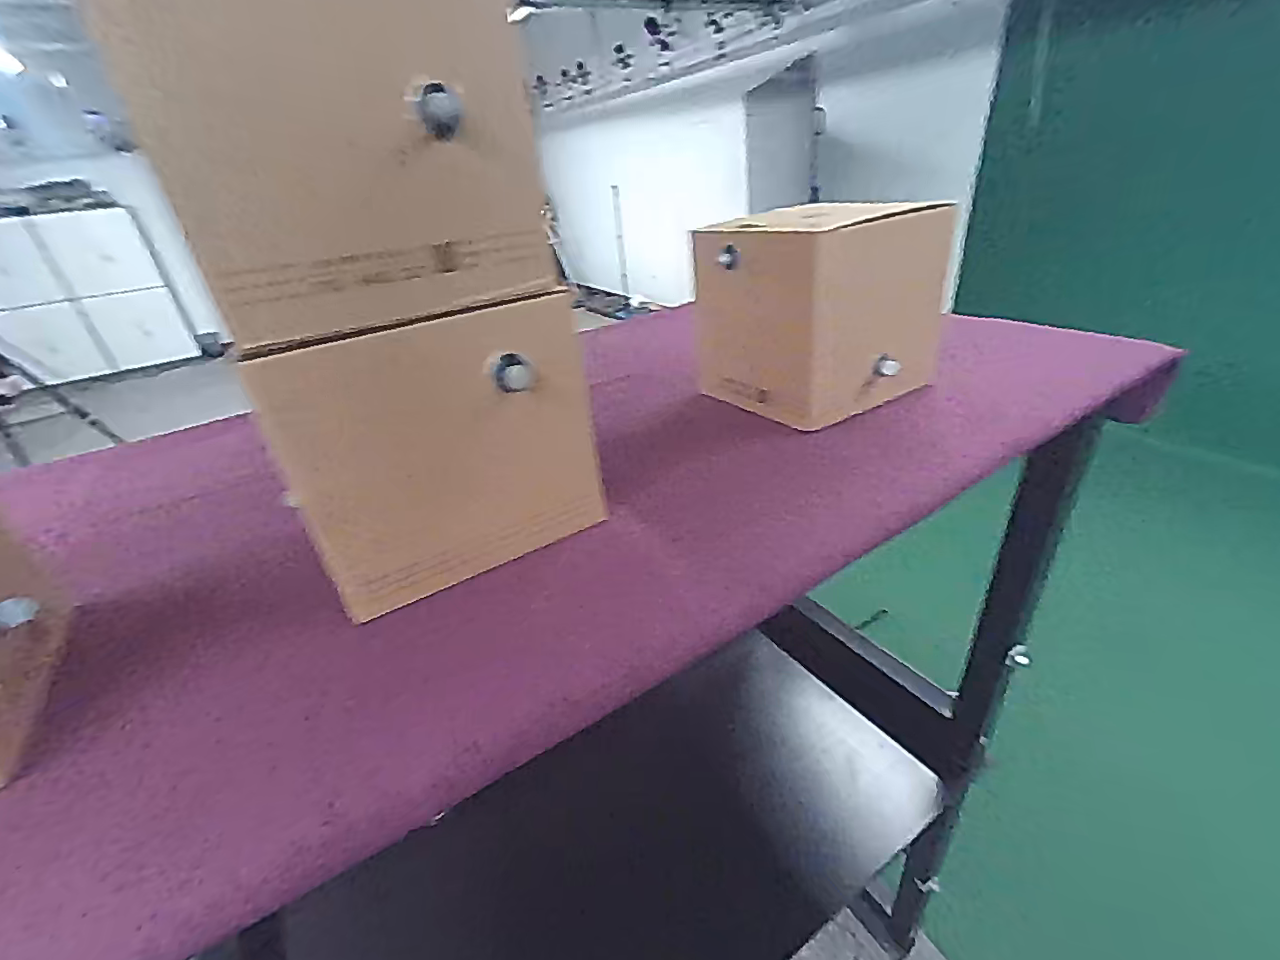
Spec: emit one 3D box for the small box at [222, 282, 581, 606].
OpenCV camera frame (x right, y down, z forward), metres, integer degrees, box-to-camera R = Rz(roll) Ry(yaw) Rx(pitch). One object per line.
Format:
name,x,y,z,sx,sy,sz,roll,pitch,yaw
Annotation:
small box,-0.153,-0.045,0.386,0.179,0.176,0.168,-21,32,-24

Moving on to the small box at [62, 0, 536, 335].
small box,-0.175,-0.189,0.312,0.168,0.176,0.179,-20,31,-25

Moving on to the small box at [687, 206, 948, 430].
small box,0.164,-0.168,0.537,0.179,0.176,0.168,-21,31,-24

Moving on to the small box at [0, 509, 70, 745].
small box,-0.427,0.070,0.238,0.179,0.176,0.168,-22,33,-28
